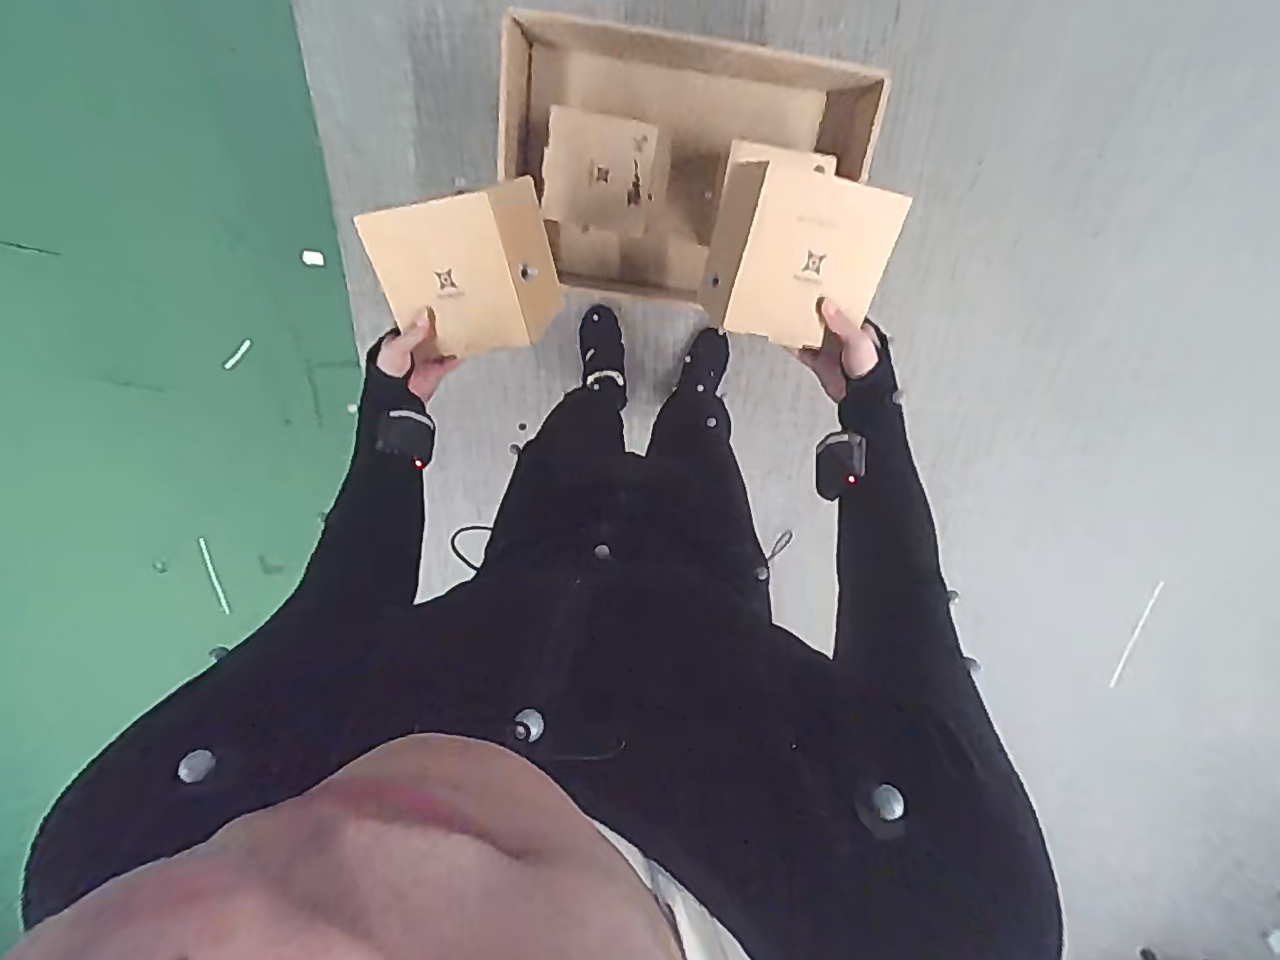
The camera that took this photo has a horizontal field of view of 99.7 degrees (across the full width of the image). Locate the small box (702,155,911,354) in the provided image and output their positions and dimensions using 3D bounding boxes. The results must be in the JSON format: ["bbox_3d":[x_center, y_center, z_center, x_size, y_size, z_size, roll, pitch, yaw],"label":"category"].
[{"bbox_3d":[0.182,-0.275,0.658,0.168,0.176,0.179,9,118,-10],"label":"small box"}]

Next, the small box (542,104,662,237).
[{"bbox_3d":[-0.062,-0.534,0.956,0.179,0.176,0.168,11,114,-2],"label":"small box"}]

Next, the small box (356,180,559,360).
[{"bbox_3d":[-0.217,-0.275,0.697,0.168,0.176,0.179,-5,123,10],"label":"small box"}]
